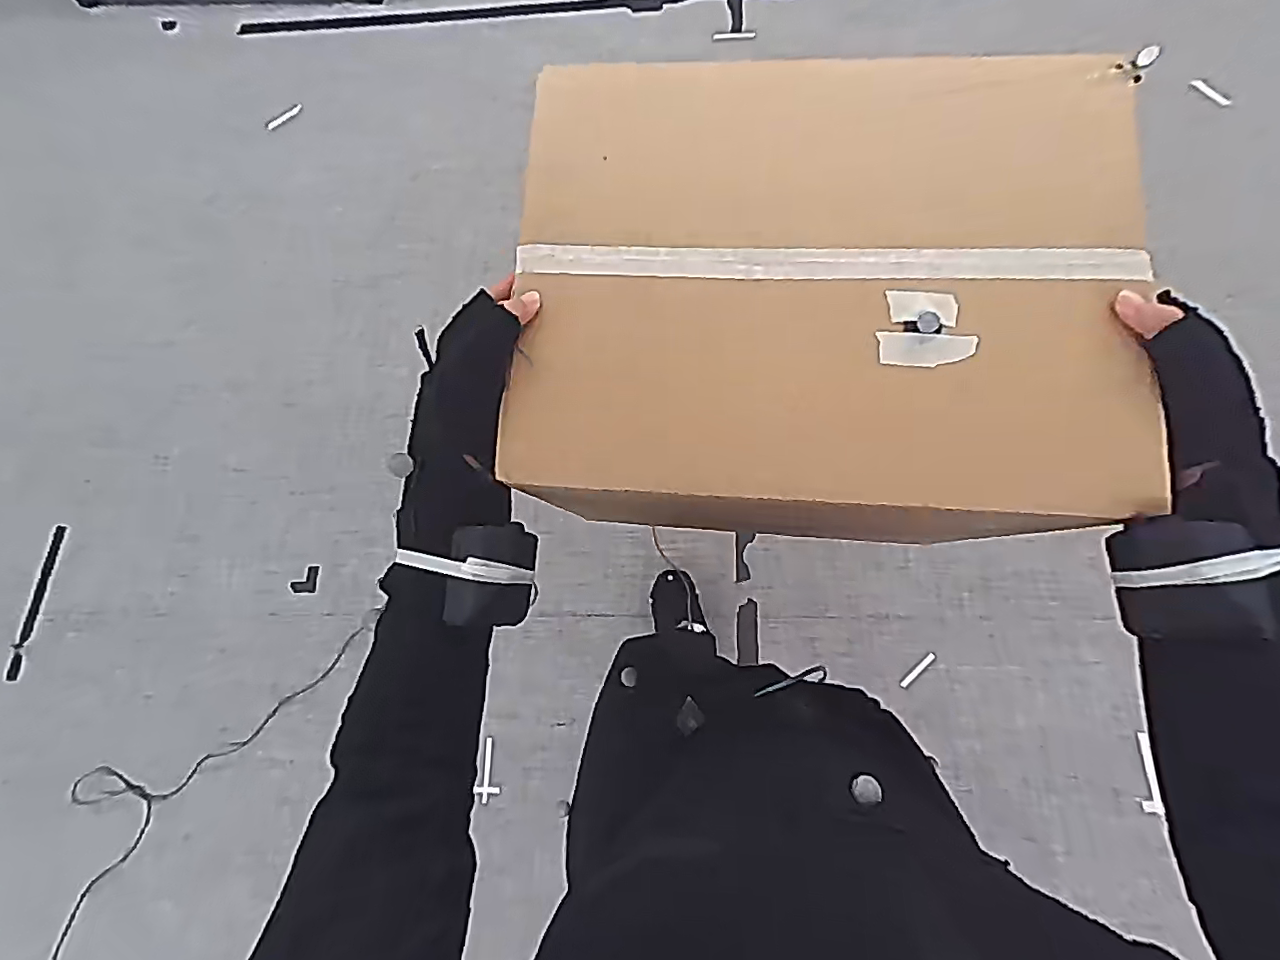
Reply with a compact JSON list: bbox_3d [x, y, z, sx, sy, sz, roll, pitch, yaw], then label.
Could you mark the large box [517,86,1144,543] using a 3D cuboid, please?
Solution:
[{"bbox_3d":[0.130,-0.107,0.516,0.408,0.320,0.320,3,82,5],"label":"large box"}]
